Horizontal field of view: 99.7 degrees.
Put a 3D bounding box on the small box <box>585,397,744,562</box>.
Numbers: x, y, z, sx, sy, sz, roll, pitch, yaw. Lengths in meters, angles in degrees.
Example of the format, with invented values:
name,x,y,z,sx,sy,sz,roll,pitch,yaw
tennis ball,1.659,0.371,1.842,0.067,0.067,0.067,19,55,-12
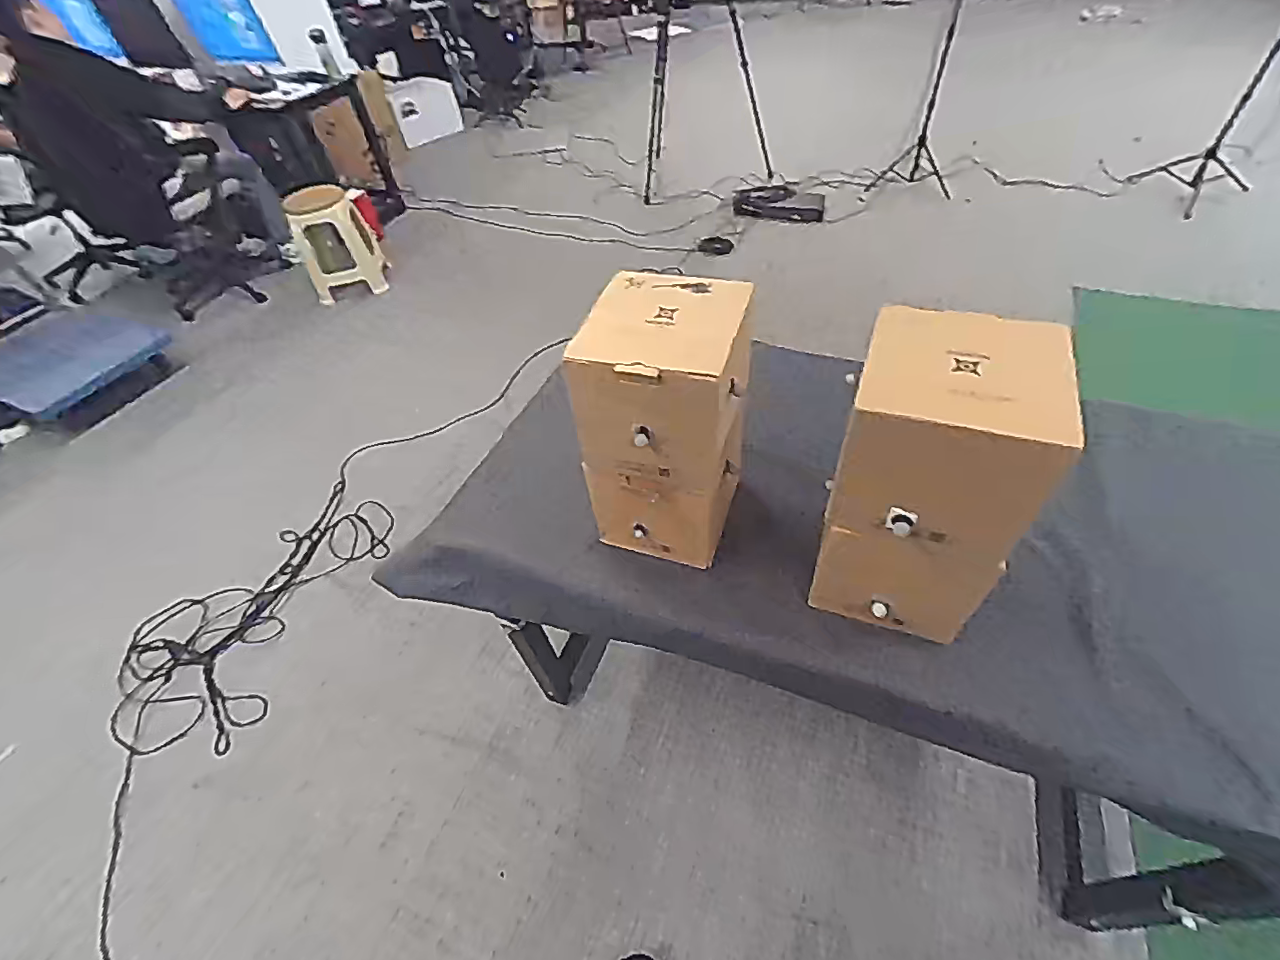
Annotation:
name,x,y,z,sx,sy,sz,roll,pitch,yaw
small box,0.040,-0.017,0.751,0.168,0.176,0.179,12,52,16

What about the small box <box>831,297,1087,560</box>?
name,x,y,z,sx,sy,sz,roll,pitch,yaw
small box,0.295,-0.052,0.532,0.168,0.176,0.179,14,52,20

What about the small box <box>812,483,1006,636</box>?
name,x,y,z,sx,sy,sz,roll,pitch,yaw
small box,0.313,0.055,0.652,0.168,0.176,0.179,13,52,18

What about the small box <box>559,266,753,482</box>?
name,x,y,z,sx,sy,sz,roll,pitch,yaw
small box,0.030,-0.121,0.625,0.168,0.176,0.179,11,52,15
